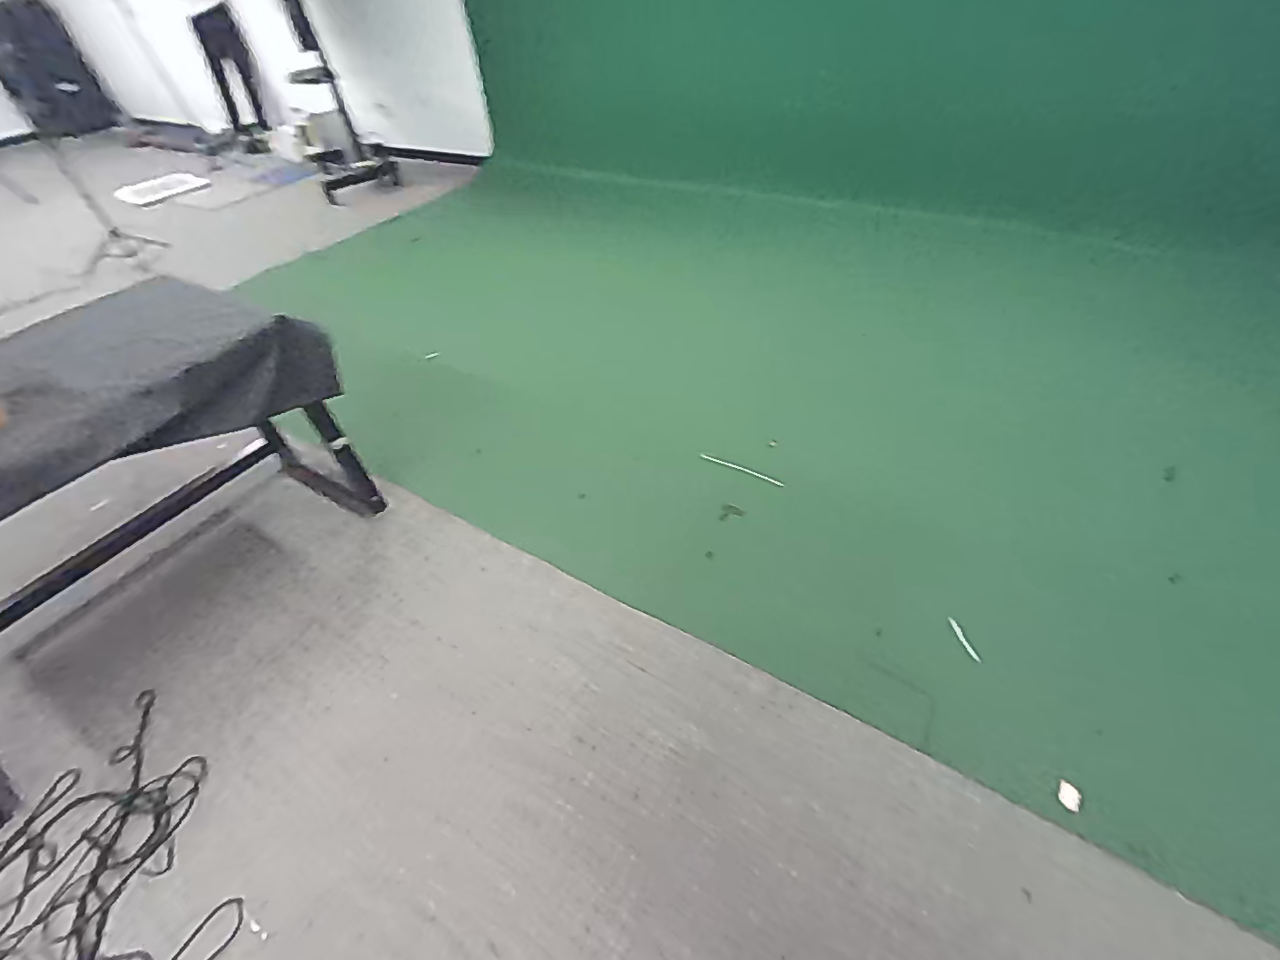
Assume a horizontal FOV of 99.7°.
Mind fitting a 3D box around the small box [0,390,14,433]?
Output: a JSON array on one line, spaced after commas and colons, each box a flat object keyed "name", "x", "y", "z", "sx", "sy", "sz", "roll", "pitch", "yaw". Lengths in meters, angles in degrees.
[{"name": "small box", "x": -1.409, "y": -0.157, "z": 1.067, "sx": 0.168, "sy": 0.176, "sz": 0.179, "roll": 28, "pitch": 55, "yaw": 31}]
